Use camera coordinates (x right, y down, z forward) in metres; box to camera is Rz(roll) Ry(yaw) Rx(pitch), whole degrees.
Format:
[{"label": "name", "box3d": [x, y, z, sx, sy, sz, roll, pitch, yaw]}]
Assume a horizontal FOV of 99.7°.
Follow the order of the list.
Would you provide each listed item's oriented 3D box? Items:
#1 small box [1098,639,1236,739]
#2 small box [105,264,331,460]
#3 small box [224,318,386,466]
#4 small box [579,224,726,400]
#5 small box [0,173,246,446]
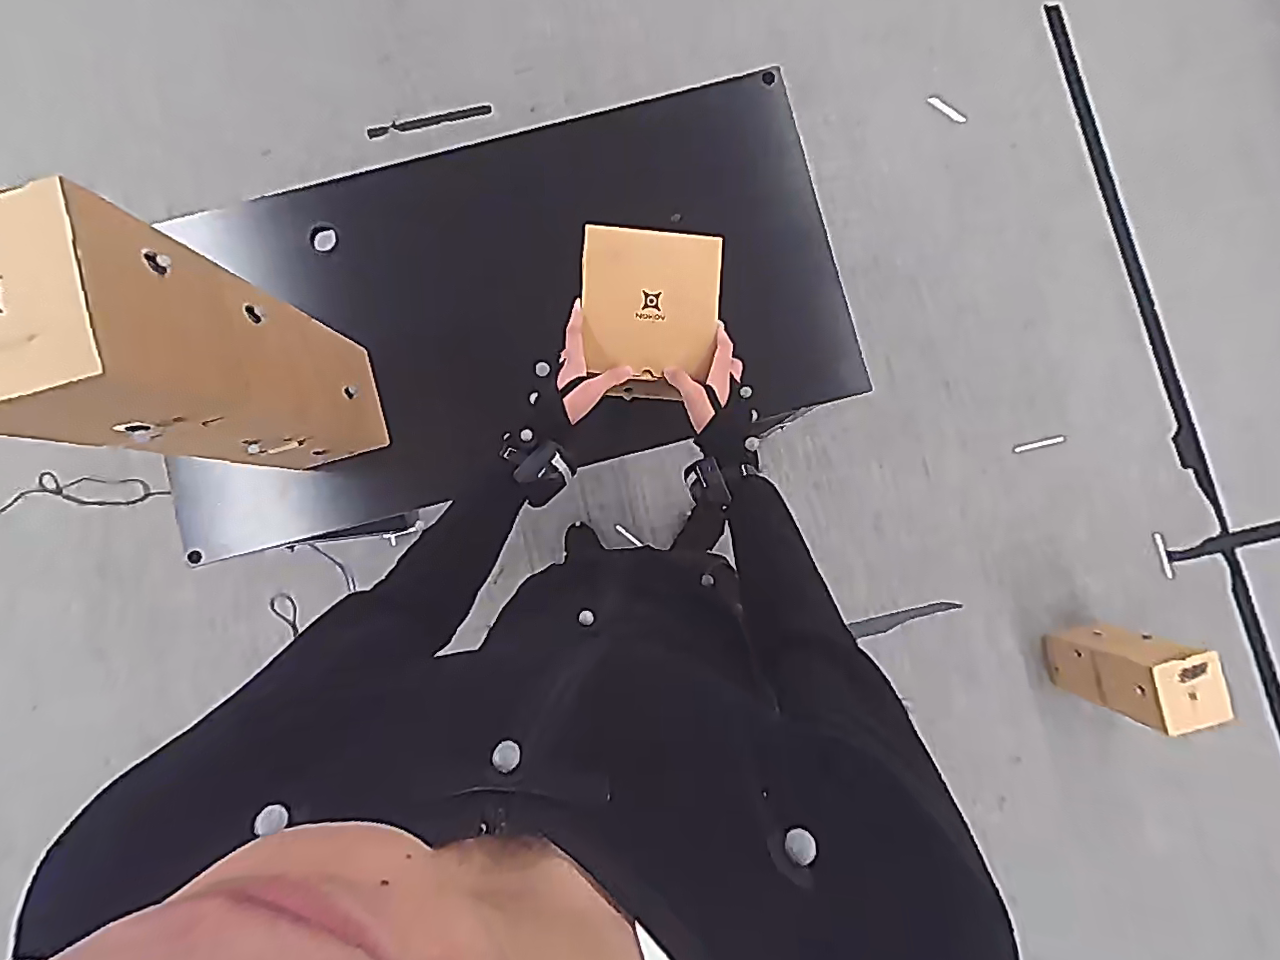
[{"label": "small box", "box3d": [1.312, 0.514, 1.362, 0.168, 0.176, 0.179, -14, 89, -1]}, {"label": "small box", "box3d": [-0.526, -0.134, 0.676, 0.168, 0.176, 0.179, -15, 87, 0]}, {"label": "small box", "box3d": [-0.525, -0.123, 0.840, 0.168, 0.176, 0.179, -16, 88, -1]}, {"label": "small box", "box3d": [0.007, -0.206, 0.710, 0.168, 0.176, 0.179, 3, 92, -6]}, {"label": "small box", "box3d": [-0.525, -0.142, 0.513, 0.168, 0.176, 0.179, -16, 87, 1]}]
